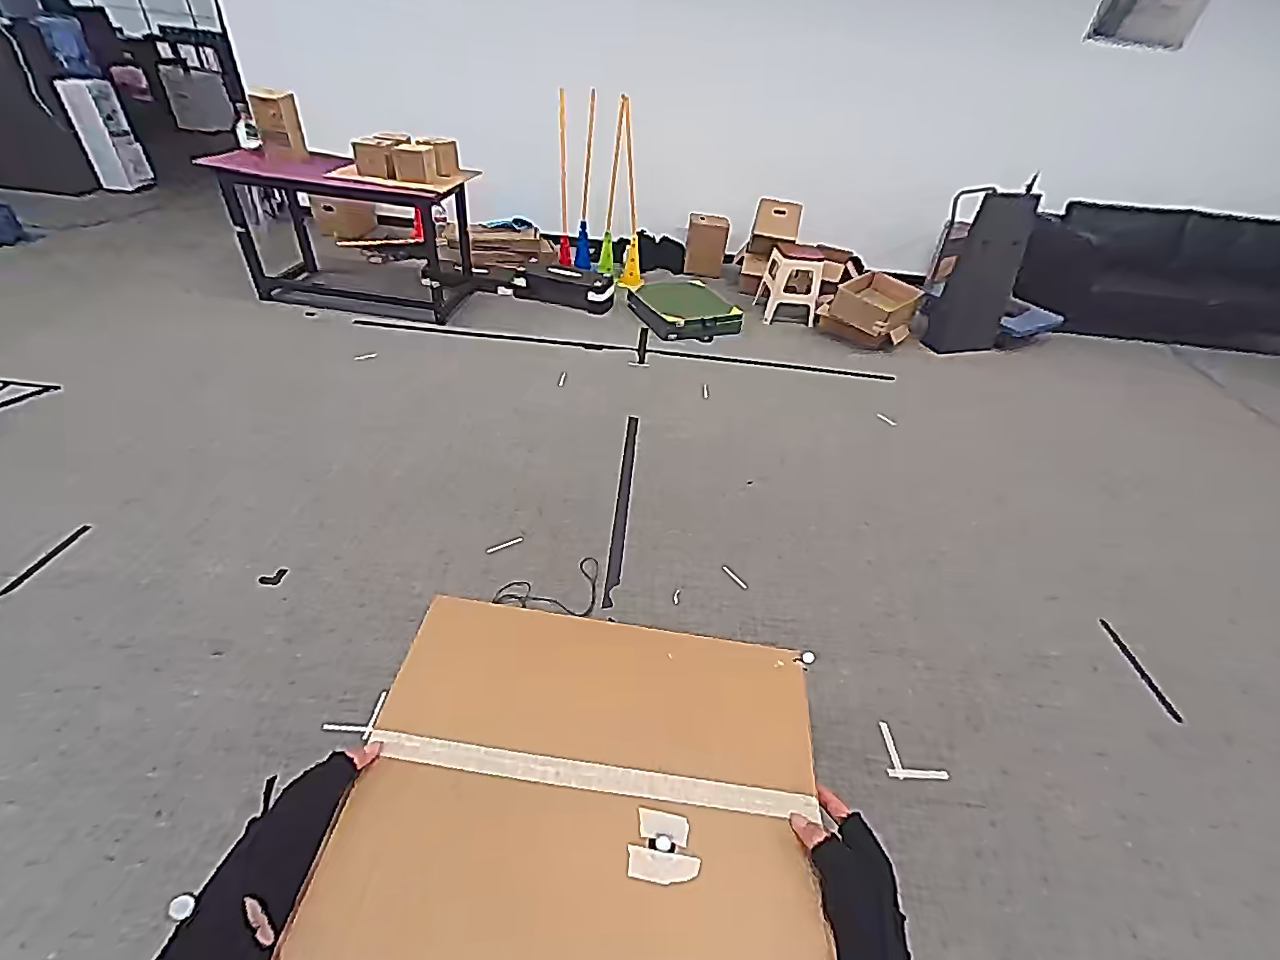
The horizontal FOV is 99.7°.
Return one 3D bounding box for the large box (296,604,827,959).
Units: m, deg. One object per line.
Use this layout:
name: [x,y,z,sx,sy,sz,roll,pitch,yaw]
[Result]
large box: [-0.056,0.376,0.597,0.408,0.320,0.320,9,45,1]
